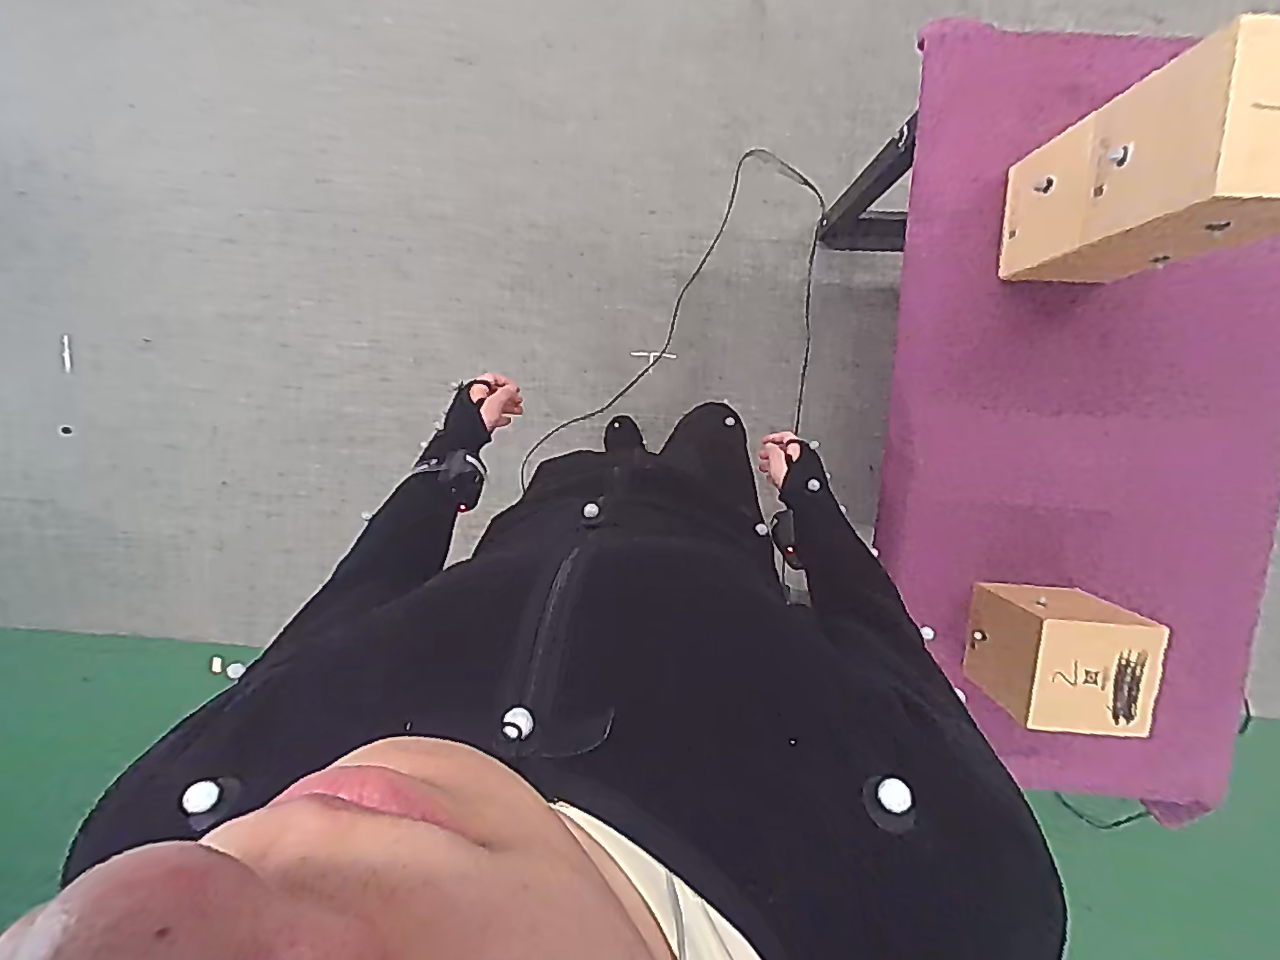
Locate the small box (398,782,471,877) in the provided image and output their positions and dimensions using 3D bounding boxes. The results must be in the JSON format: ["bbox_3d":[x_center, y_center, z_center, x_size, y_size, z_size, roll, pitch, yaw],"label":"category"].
[{"bbox_3d":[-0.639,1.090,1.695,0.168,0.176,0.179,6,97,0],"label":"small box"}]

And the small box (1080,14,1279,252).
[{"bbox_3d":[0.645,-0.360,0.594,0.179,0.176,0.168,2,97,1],"label":"small box"}]

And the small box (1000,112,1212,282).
[{"bbox_3d":[0.645,-0.382,0.756,0.179,0.176,0.168,2,97,0],"label":"small box"}]
